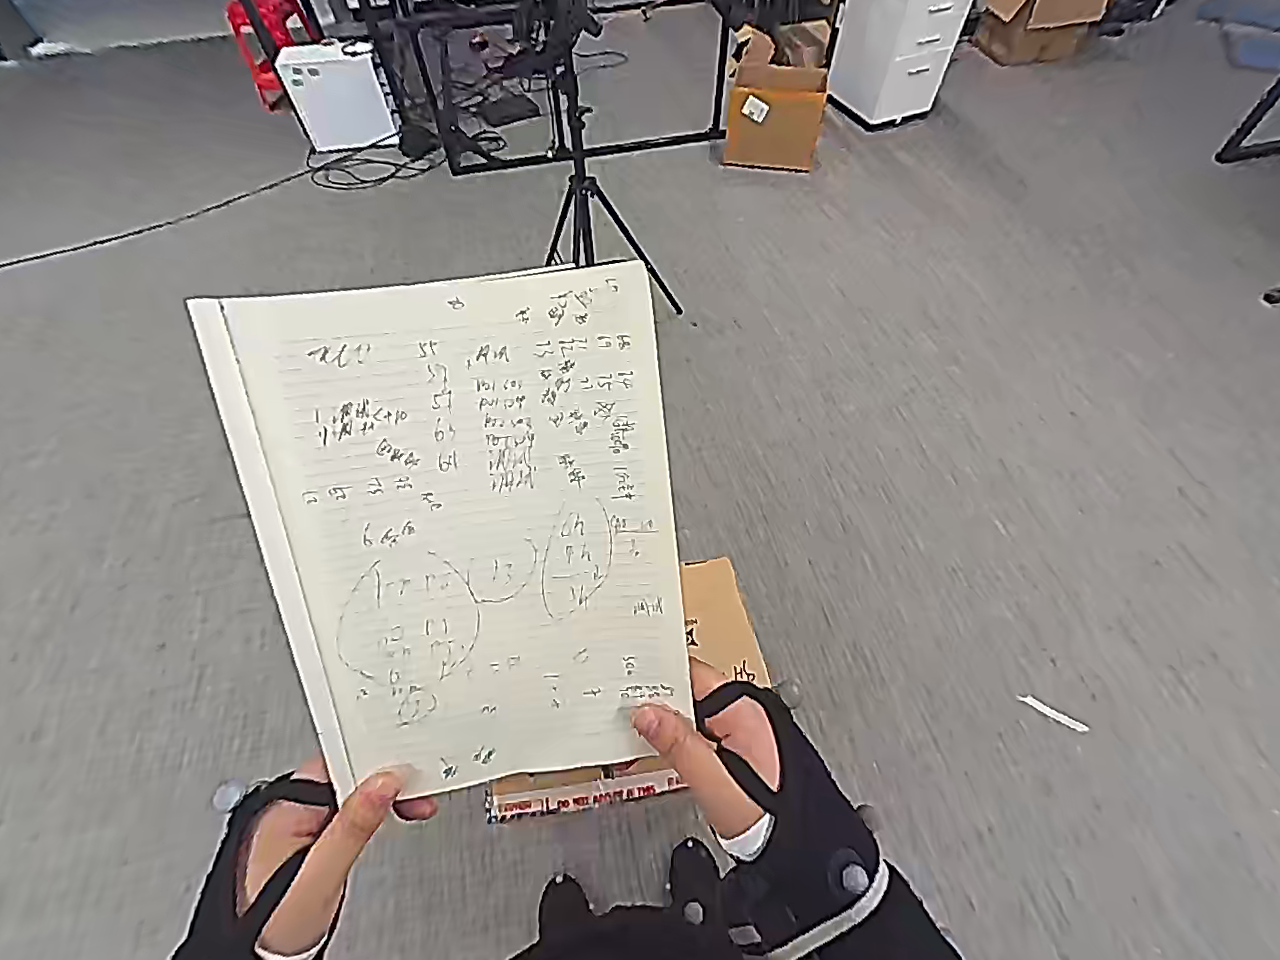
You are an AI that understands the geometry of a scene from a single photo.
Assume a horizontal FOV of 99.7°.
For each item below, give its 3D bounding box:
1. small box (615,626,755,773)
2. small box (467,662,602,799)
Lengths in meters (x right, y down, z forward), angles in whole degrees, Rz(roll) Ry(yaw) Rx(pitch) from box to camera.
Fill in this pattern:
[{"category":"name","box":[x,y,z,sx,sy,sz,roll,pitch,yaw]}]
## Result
[{"category":"small box","box":[0.060,0.351,0.859,0.179,0.176,0.168,-12,58,-8]},{"category":"small box","box":[-0.152,0.390,0.836,0.179,0.176,0.168,-6,59,-1]}]
